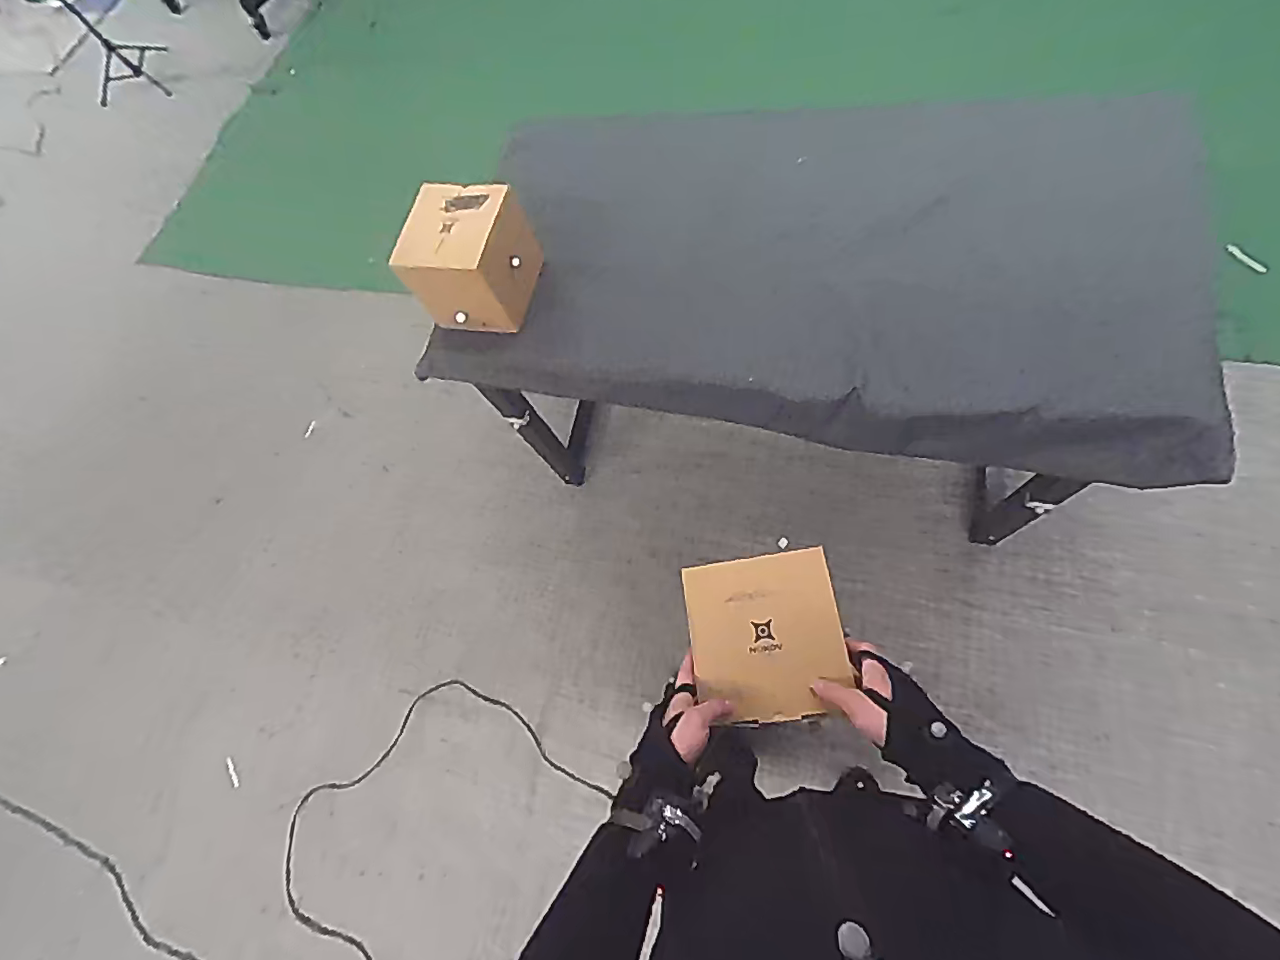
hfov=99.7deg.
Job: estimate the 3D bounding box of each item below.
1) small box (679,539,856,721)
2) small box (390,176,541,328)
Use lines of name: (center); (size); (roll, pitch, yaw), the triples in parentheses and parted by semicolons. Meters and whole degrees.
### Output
small box: (0.150, 0.187, 0.653); (0.168, 0.176, 0.179); (-11, 65, 10)
small box: (-0.289, -0.393, 0.940); (0.168, 0.176, 0.179); (9, 71, 15)
